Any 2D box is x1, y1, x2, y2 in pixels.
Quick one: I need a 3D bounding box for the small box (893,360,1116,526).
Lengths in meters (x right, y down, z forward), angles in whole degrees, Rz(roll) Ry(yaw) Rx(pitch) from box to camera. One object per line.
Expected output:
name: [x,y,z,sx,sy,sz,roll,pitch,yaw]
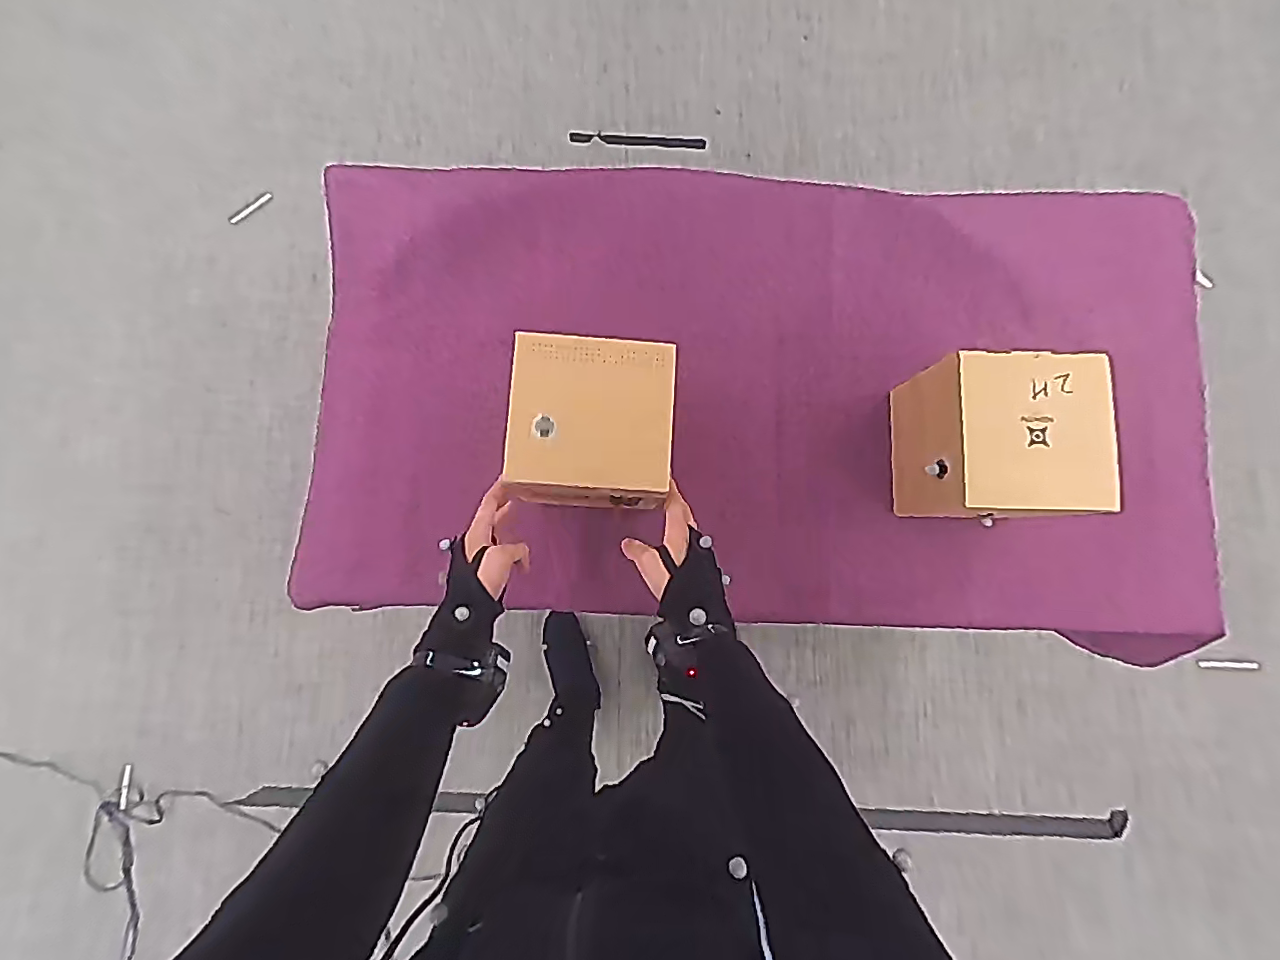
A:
small box: [0.430,-0.034,0.664,0.168,0.176,0.179,2,83,0]
